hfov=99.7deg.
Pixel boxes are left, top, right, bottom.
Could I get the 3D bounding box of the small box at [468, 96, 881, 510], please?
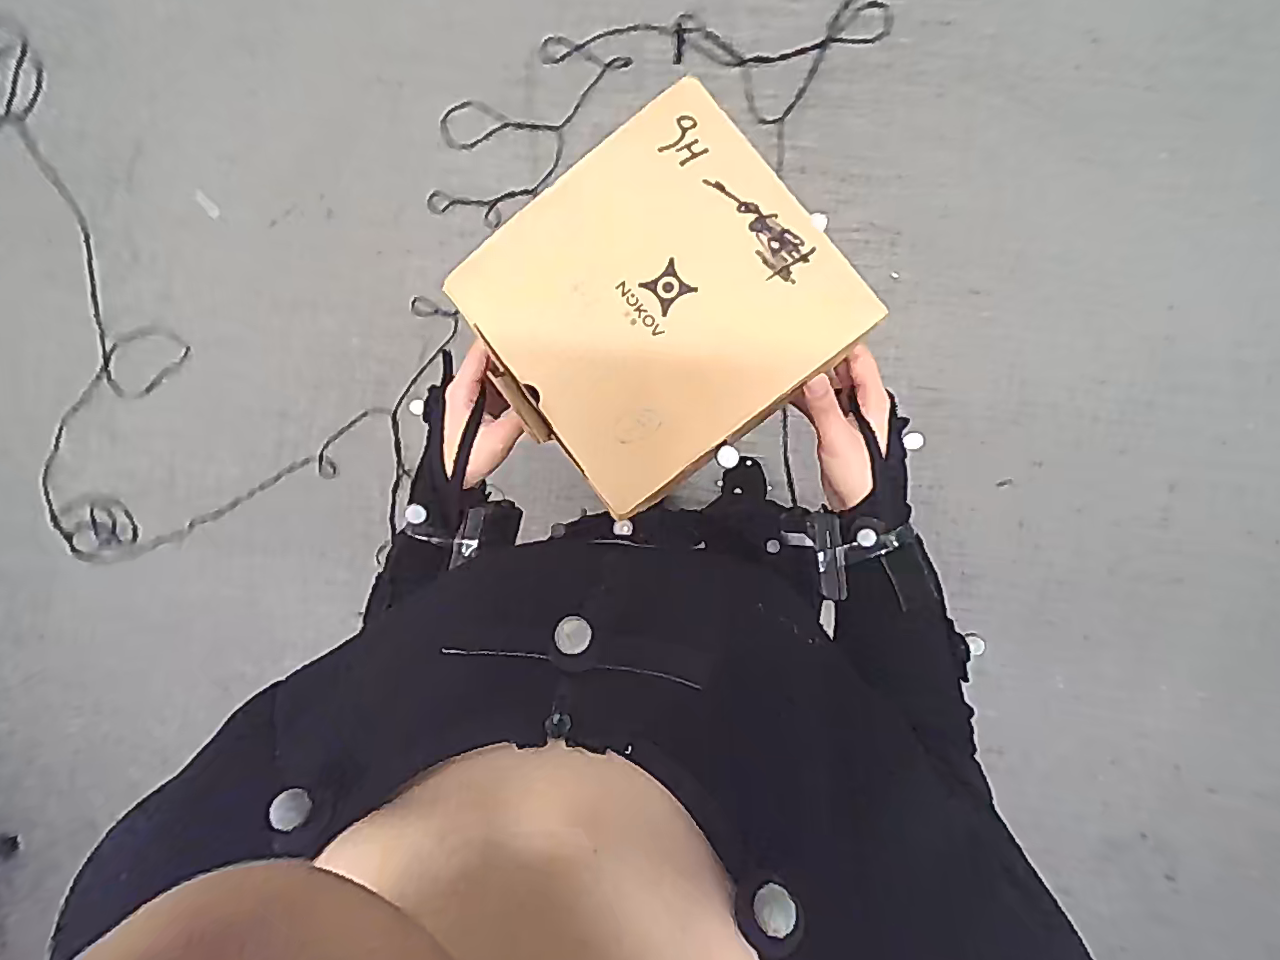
[{"bbox_3d":[0.024,-0.096,0.377,0.179,0.176,0.168,-37,86,5],"label":"small box"}]
